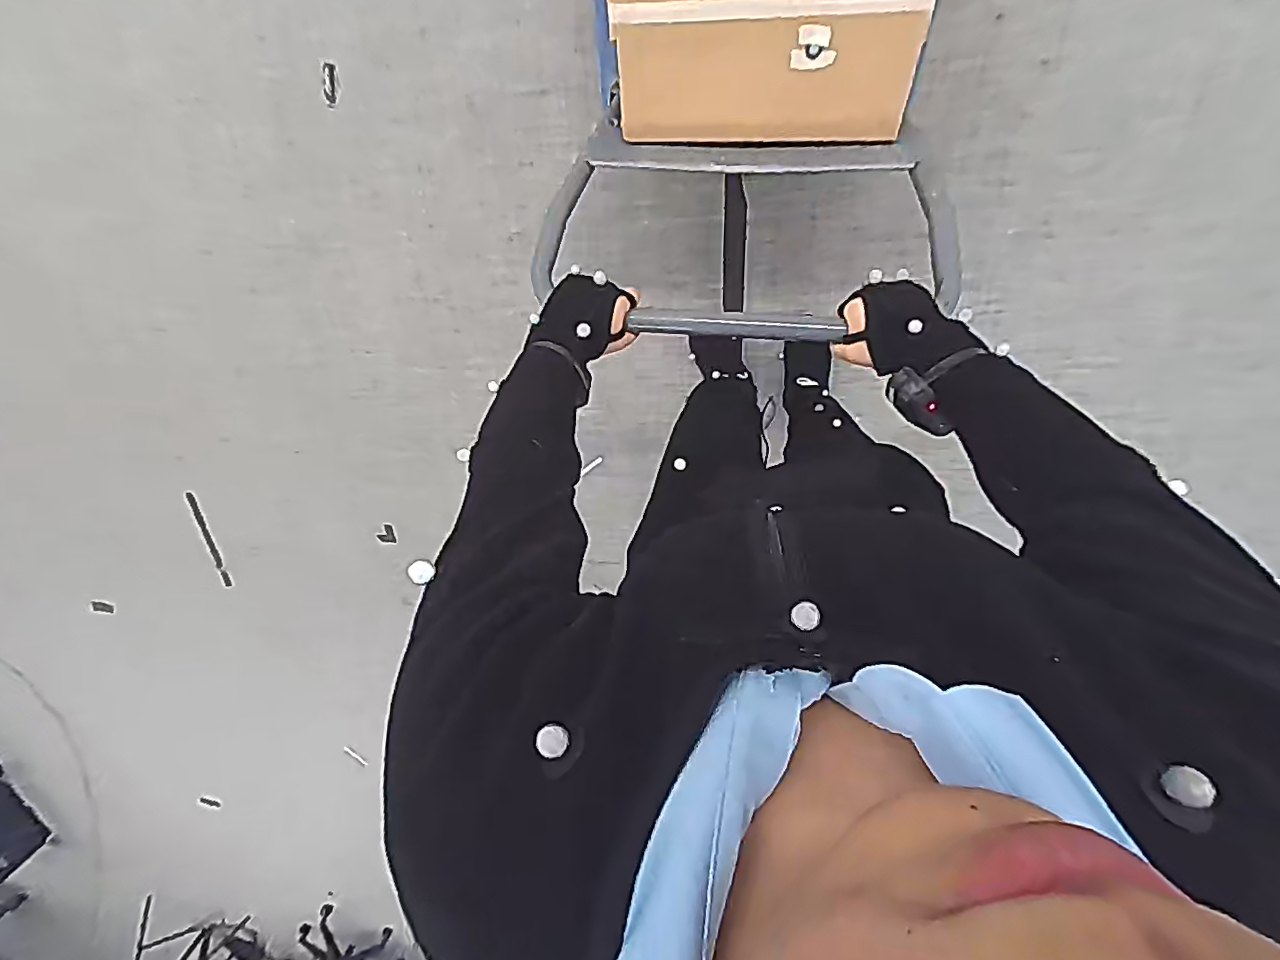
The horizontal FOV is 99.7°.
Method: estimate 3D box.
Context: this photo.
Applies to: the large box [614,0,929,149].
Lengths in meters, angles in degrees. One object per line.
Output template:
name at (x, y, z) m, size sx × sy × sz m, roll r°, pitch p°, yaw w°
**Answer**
large box at (0.183, -0.711, 0.794) m, size 0.408 × 0.320 × 0.320 m, roll 4°, pitch 138°, yaw 8°
